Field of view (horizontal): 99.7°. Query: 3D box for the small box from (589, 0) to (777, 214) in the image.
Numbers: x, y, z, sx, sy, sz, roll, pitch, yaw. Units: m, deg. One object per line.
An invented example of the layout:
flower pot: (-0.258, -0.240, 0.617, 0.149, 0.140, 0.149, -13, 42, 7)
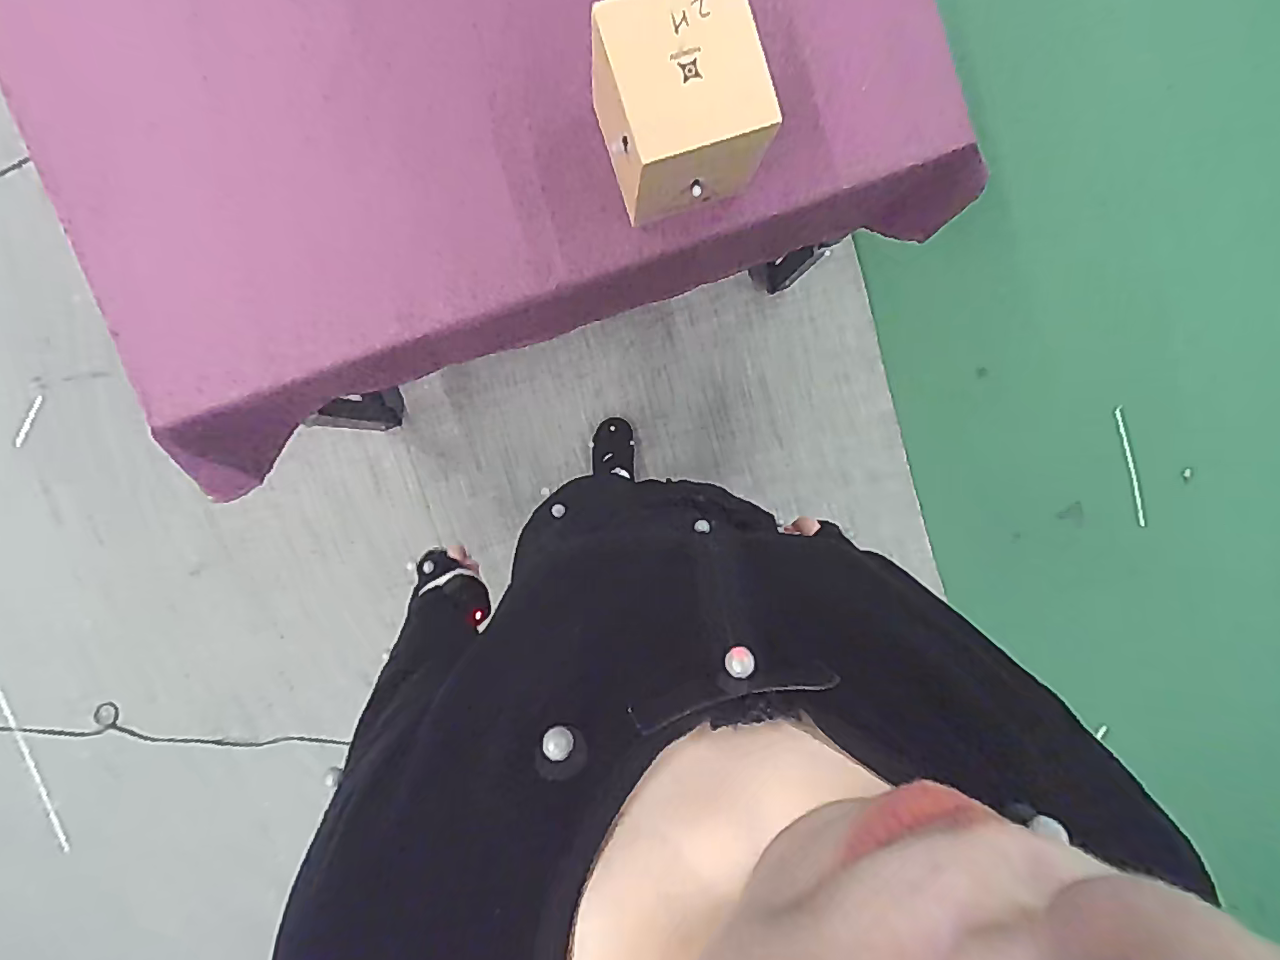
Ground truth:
small box: (0.044, -0.451, 0.660, 0.168, 0.176, 0.179, -19, 94, -3)
